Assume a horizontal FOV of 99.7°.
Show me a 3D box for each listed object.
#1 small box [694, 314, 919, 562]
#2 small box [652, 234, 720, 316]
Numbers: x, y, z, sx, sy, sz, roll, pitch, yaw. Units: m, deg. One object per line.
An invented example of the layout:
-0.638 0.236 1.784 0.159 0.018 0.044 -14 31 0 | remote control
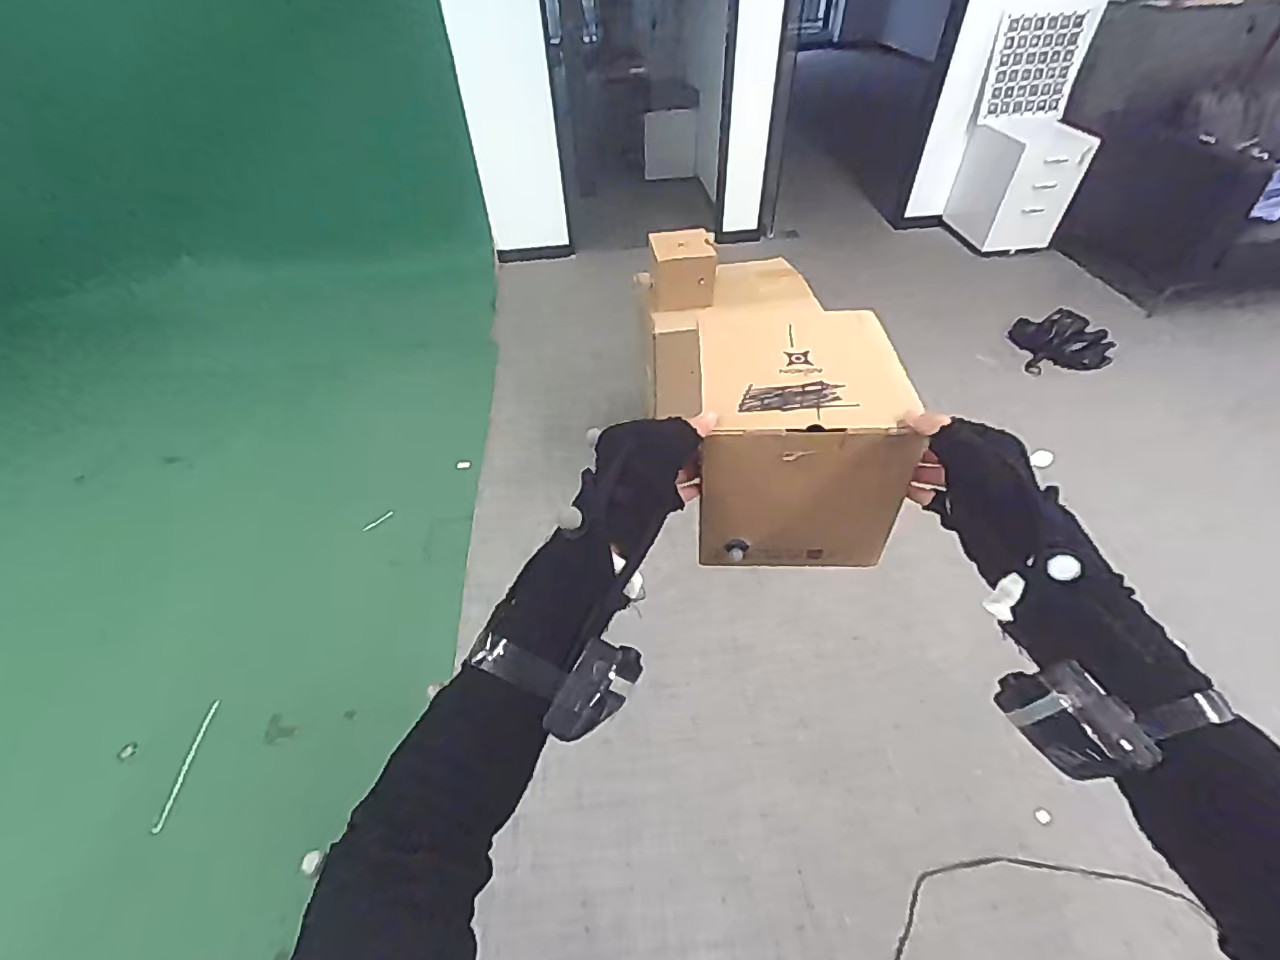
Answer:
0.135 -0.037 0.514 0.168 0.176 0.179 0 43 5 | small box
0.136 -0.628 1.661 0.179 0.176 0.168 -9 50 -3 | small box
